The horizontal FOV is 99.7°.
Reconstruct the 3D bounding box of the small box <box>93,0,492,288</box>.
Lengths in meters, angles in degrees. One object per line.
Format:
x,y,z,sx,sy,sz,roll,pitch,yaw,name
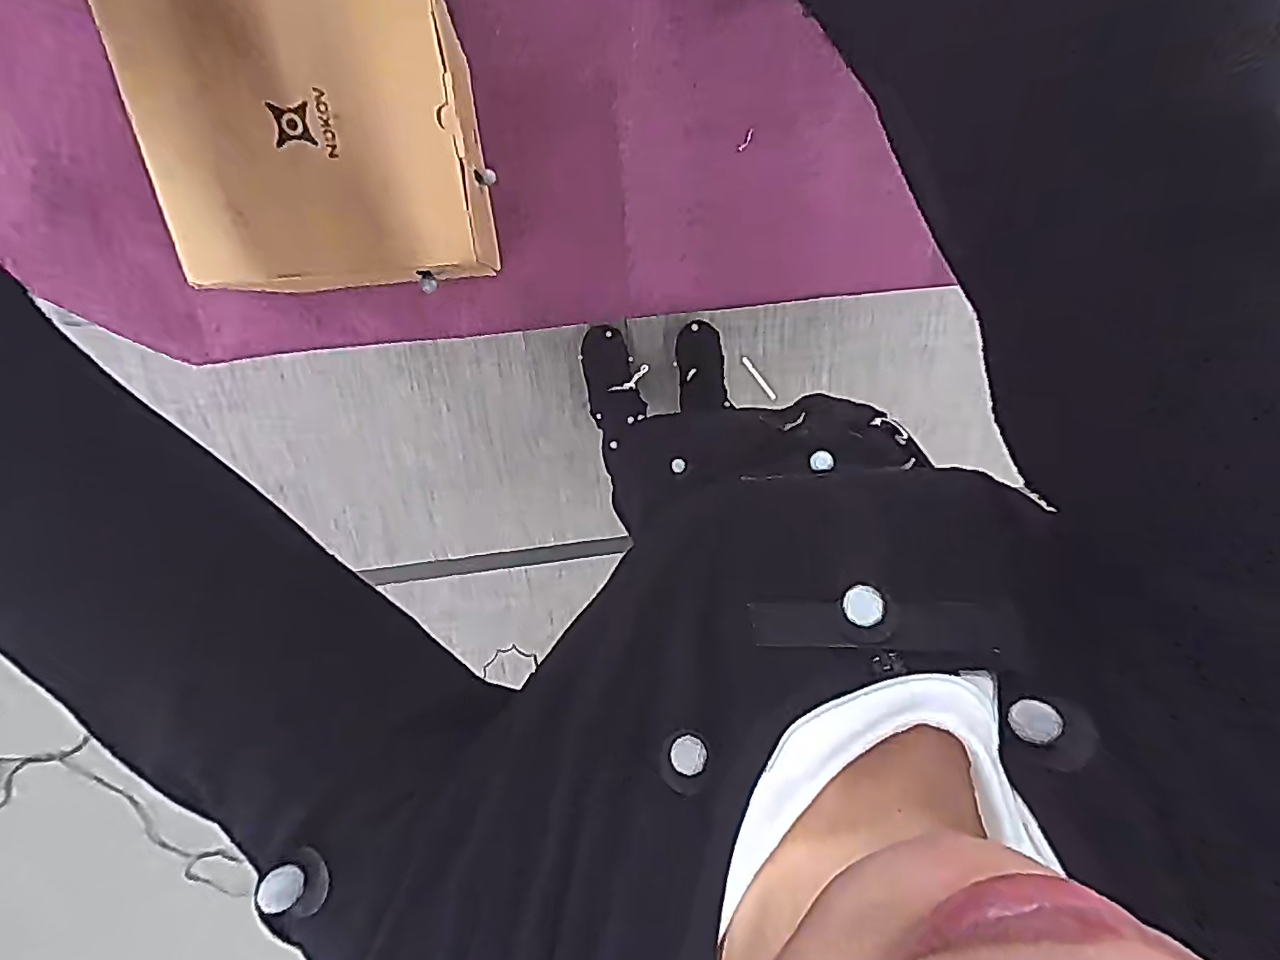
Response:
-0.216,-0.235,0.396,0.179,0.176,0.168,-9,110,-8,small box
